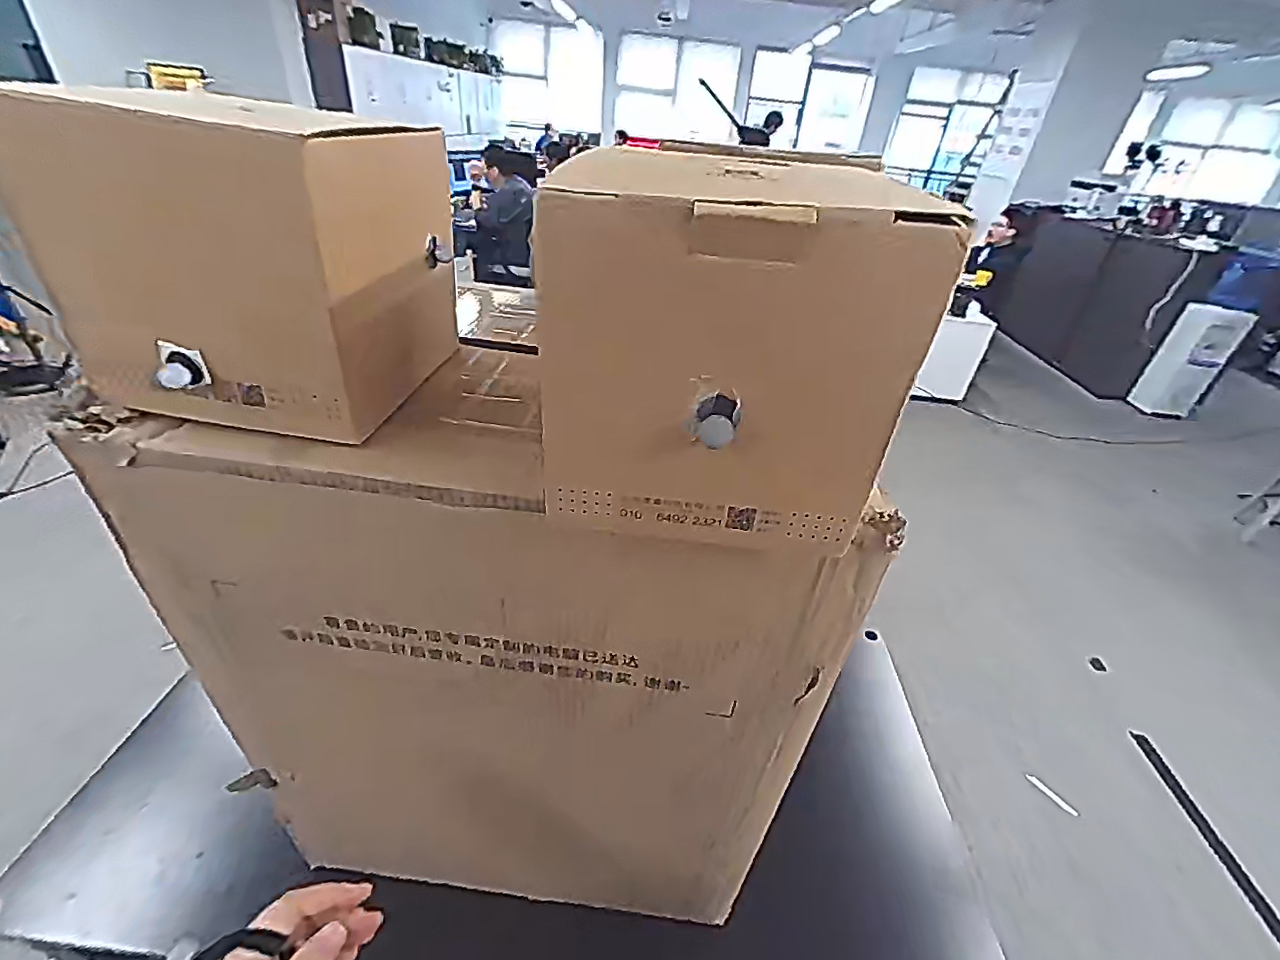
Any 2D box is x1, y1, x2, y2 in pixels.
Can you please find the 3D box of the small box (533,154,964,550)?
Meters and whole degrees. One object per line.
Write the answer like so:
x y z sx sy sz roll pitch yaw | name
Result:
0.044 -0.079 0.315 0.168 0.176 0.179 6 36 2 | small box

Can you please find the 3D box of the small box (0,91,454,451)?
-0.234 -0.141 0.360 0.168 0.176 0.179 8 35 0 | small box

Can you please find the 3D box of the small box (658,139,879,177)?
0.094 -0.210 0.509 0.168 0.176 0.179 5 31 1 | small box
